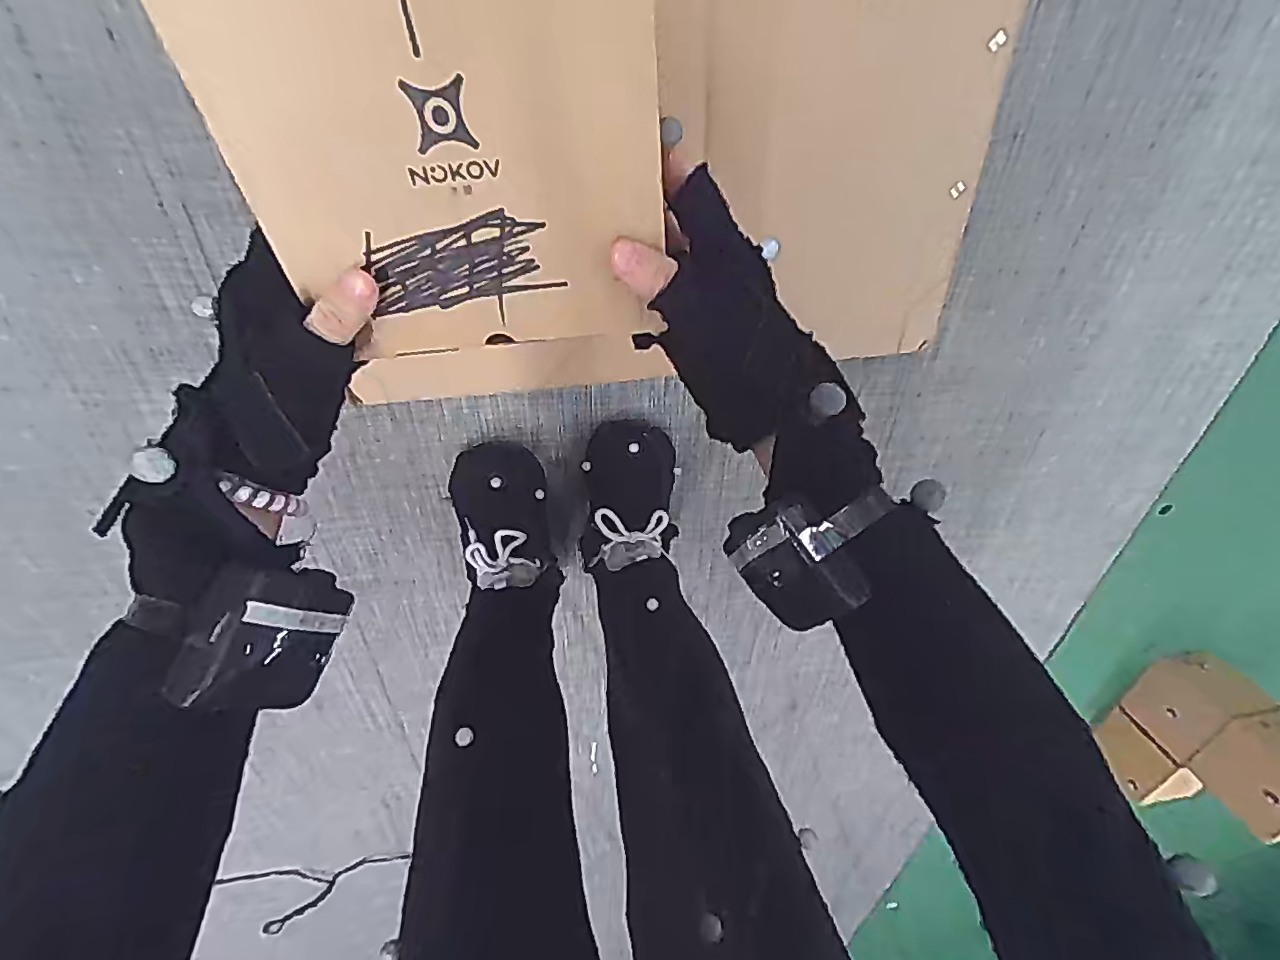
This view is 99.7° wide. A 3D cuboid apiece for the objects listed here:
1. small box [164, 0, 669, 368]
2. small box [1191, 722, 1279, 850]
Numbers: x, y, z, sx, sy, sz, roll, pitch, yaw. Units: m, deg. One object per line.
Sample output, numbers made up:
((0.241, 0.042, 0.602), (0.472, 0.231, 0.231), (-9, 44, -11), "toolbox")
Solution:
((-0.076, -0.181, 0.272), (0.168, 0.176, 0.179), (-6, 132, 0), "small box")
((1.318, 0.621, 1.114), (0.168, 0.176, 0.179), (-2, 123, -9), "small box")
